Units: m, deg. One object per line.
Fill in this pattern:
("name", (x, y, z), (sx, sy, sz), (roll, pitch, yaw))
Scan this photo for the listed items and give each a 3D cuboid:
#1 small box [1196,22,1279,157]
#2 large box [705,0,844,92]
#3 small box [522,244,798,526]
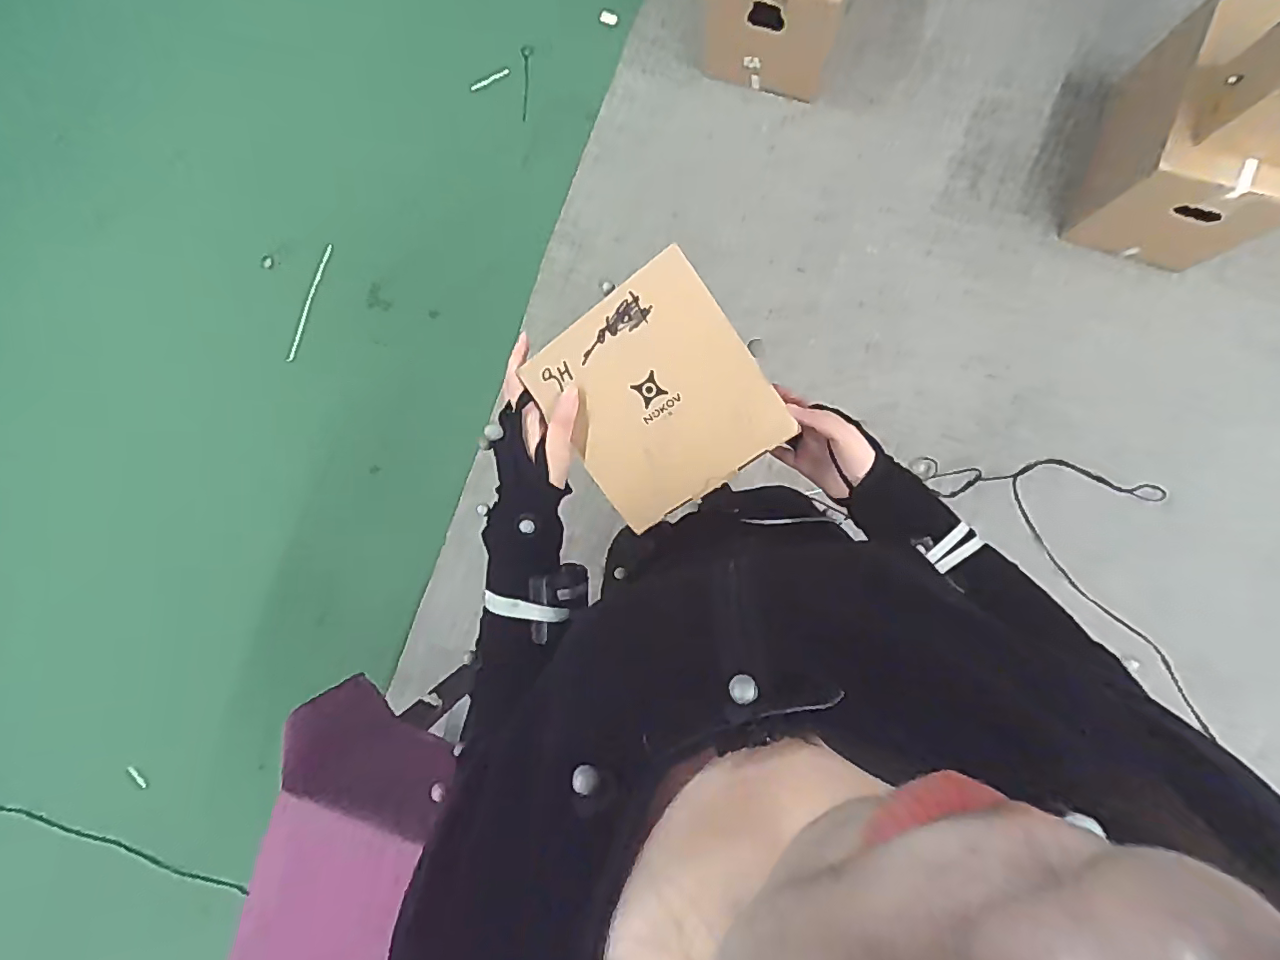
("small box", (1.192, -0.720, 0.976), (0.179, 0.176, 0.168), (18, 93, 7))
("large box", (0.359, -1.263, 1.309), (0.320, 0.320, 0.408), (19, 92, 6))
("small box", (0.027, -0.091, 0.512), (0.168, 0.176, 0.179), (-33, 98, 16))
